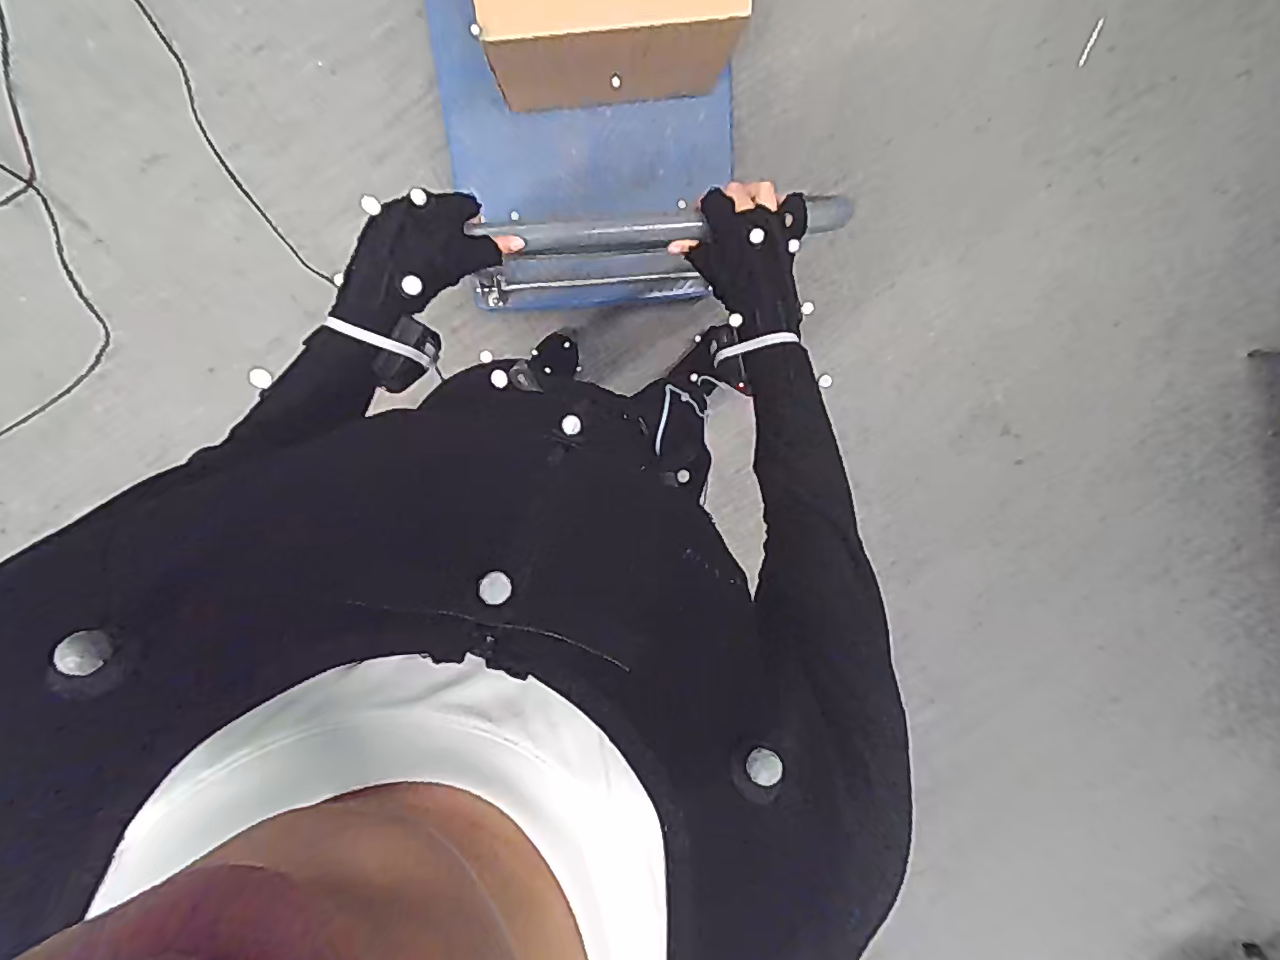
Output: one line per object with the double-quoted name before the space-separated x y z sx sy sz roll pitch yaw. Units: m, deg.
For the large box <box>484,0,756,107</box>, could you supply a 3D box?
"large box" -0.050 -0.860 0.893 0.408 0.320 0.320 -8 107 -2
